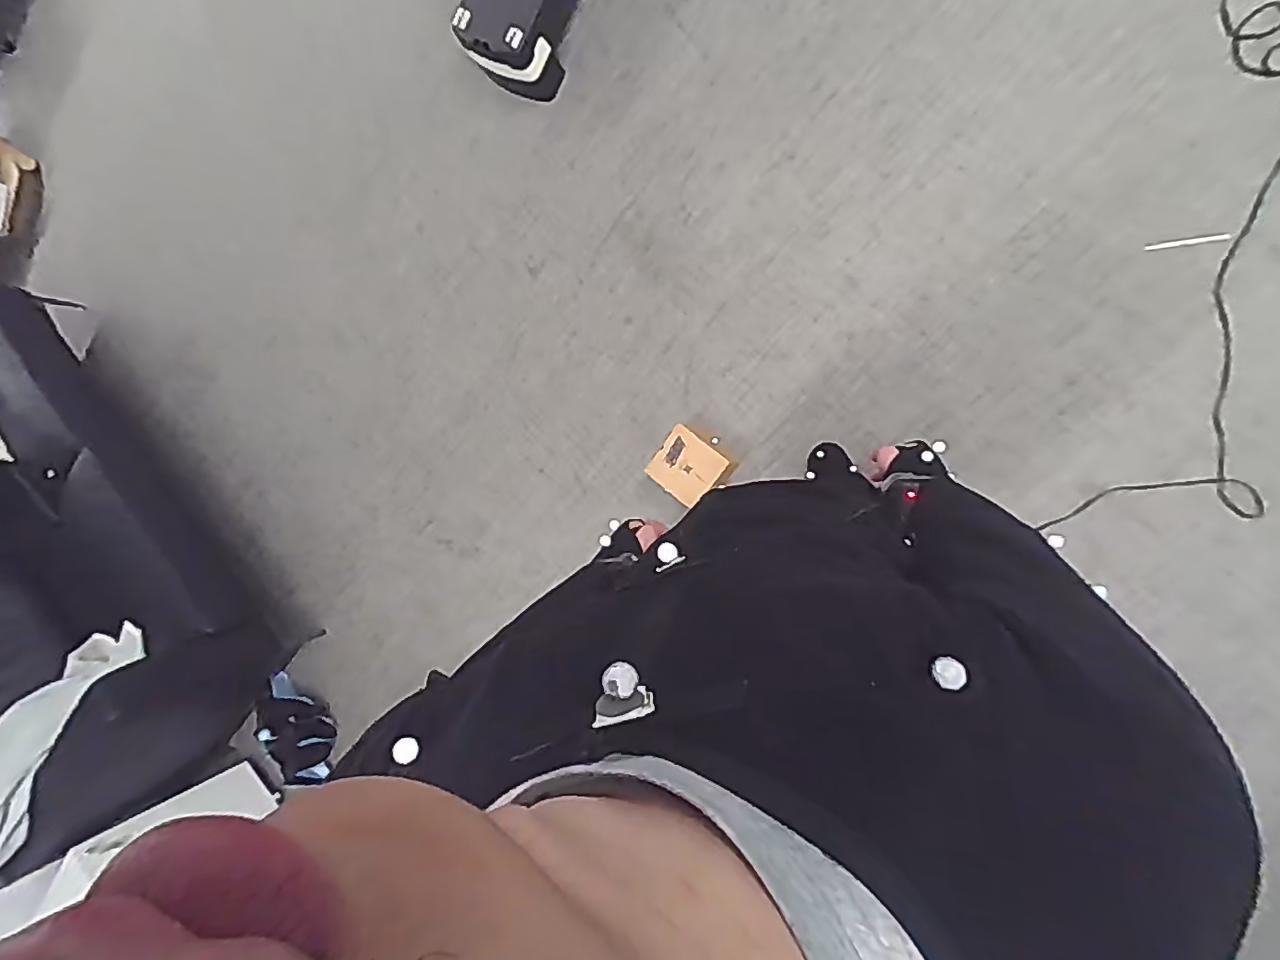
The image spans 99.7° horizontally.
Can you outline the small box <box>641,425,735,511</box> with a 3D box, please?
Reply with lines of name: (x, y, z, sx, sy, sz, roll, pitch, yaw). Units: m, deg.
small box: (0.139, -0.034, 1.499, 0.179, 0.176, 0.168, 40, 105, 14)
